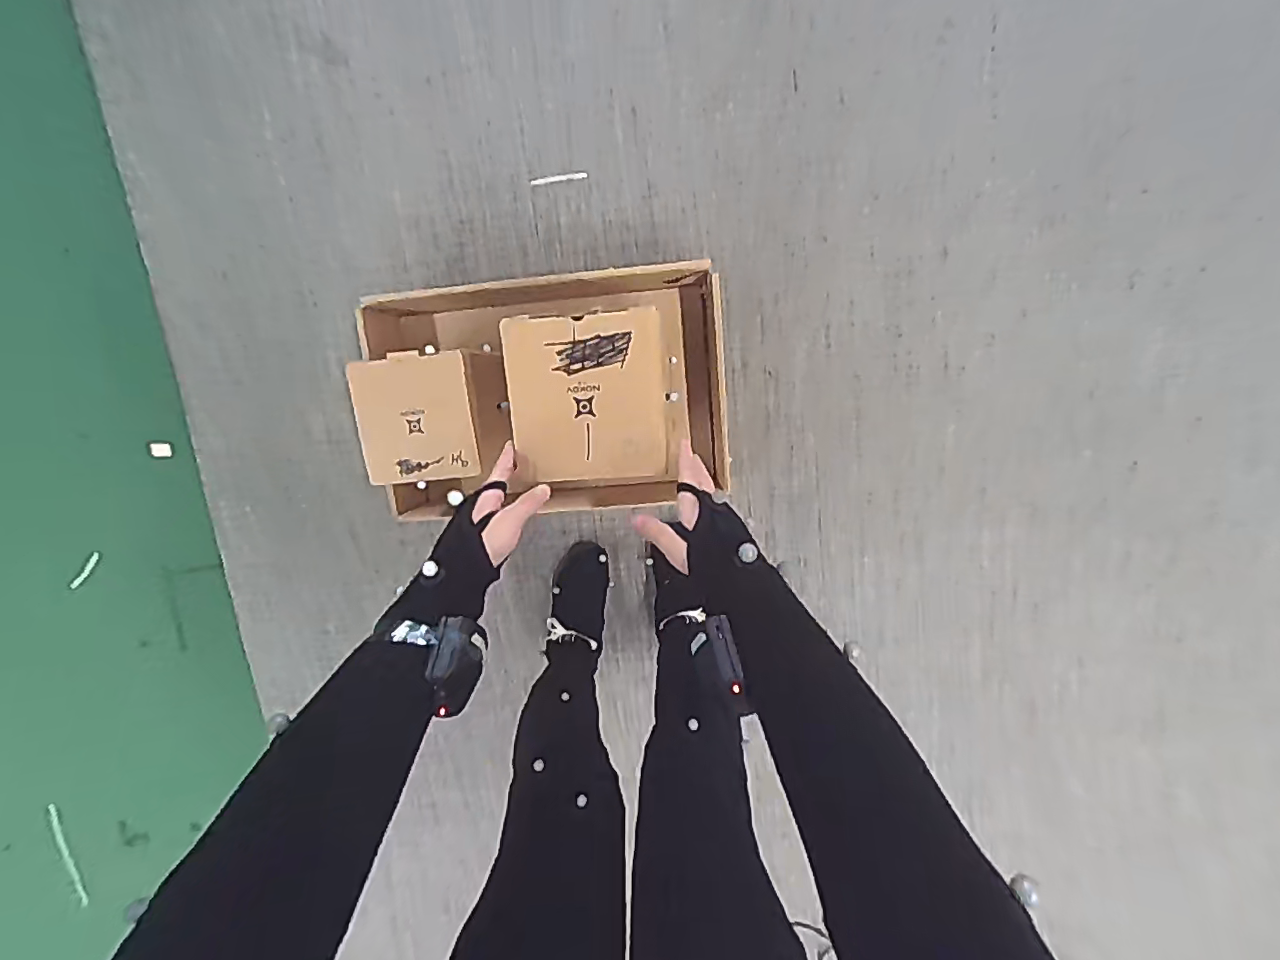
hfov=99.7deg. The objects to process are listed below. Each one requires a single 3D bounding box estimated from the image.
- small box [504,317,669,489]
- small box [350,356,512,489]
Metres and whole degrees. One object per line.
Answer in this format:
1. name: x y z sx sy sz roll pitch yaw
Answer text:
1. small box: -0.052 -0.093 0.648 0.168 0.176 0.179 -3 101 5
2. small box: -0.307 -0.090 0.830 0.168 0.176 0.179 -5 100 5
